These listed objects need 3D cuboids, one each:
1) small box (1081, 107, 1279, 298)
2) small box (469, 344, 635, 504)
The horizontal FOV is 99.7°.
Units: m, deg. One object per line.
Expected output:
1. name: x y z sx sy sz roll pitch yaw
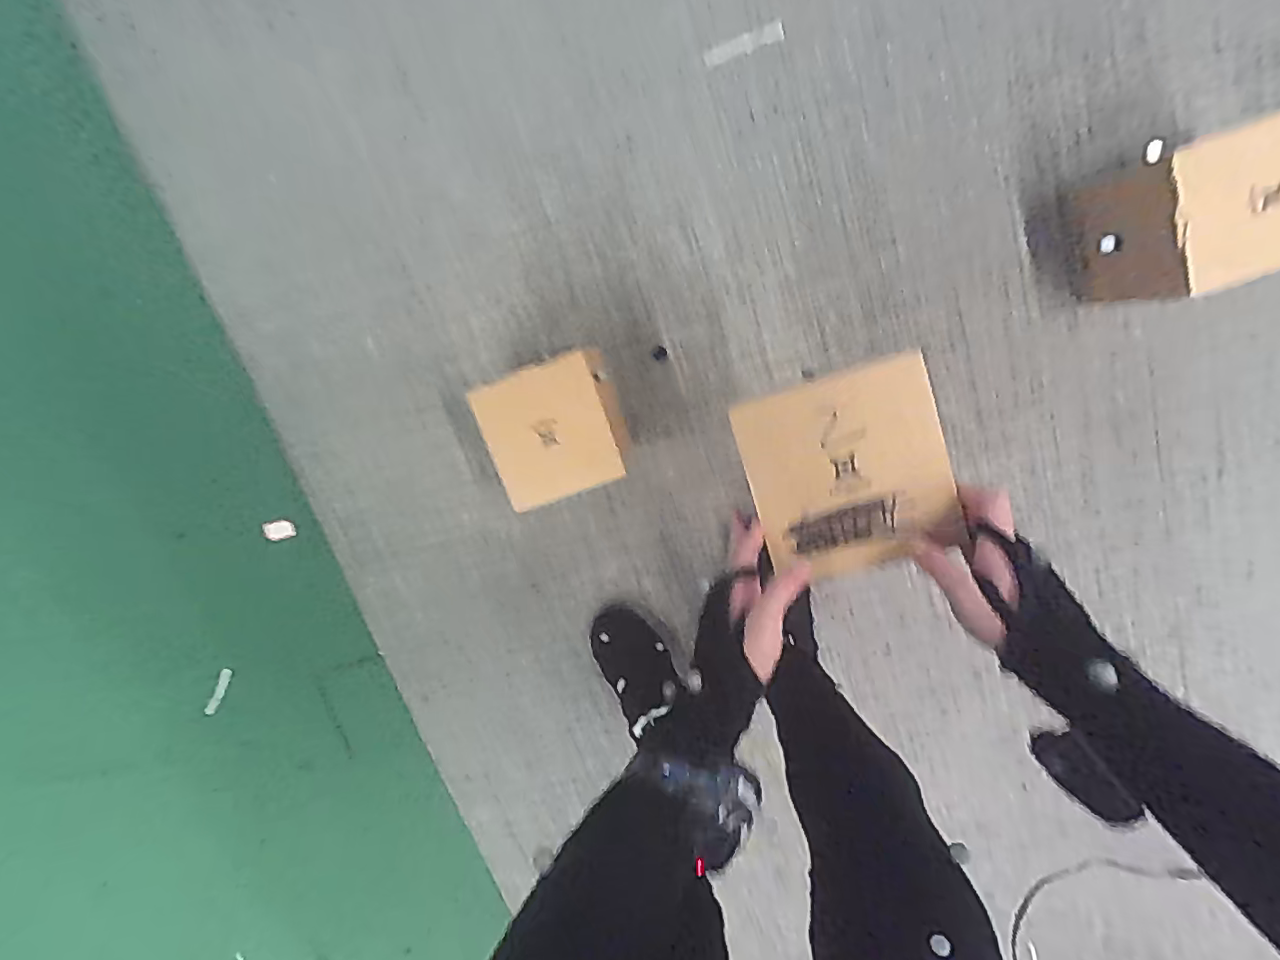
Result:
1. small box: 0.695 -0.337 0.674 0.179 0.176 0.168 -18 103 8
2. small box: -0.112 -0.089 0.782 0.168 0.176 0.179 -19 101 8
